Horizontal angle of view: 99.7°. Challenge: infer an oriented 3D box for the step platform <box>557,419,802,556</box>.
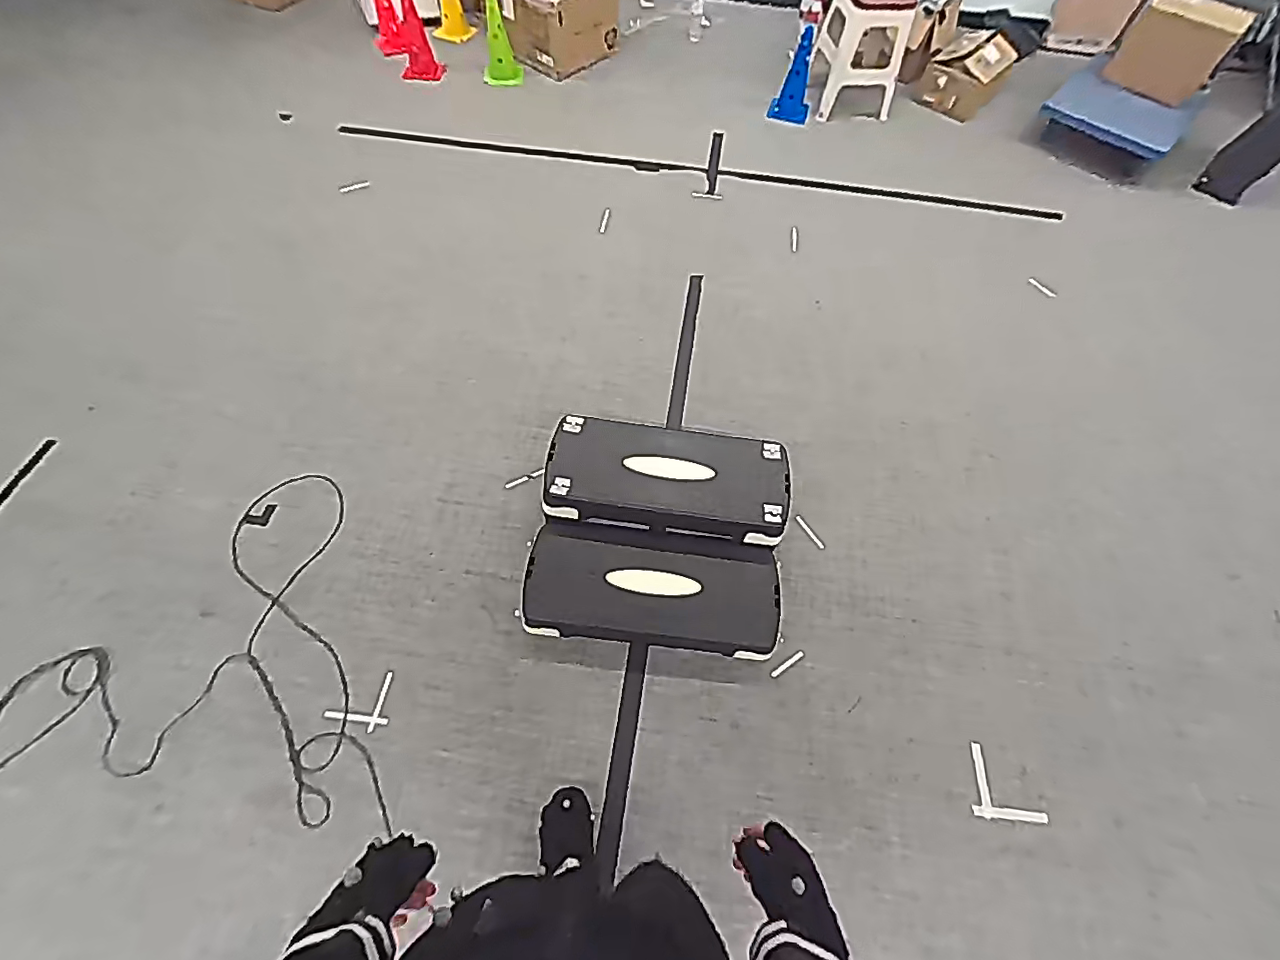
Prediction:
[{"bbox_3d":[0.109,0.020,1.550,0.684,0.204,0.286,8,60,0],"label":"step platform"}]
